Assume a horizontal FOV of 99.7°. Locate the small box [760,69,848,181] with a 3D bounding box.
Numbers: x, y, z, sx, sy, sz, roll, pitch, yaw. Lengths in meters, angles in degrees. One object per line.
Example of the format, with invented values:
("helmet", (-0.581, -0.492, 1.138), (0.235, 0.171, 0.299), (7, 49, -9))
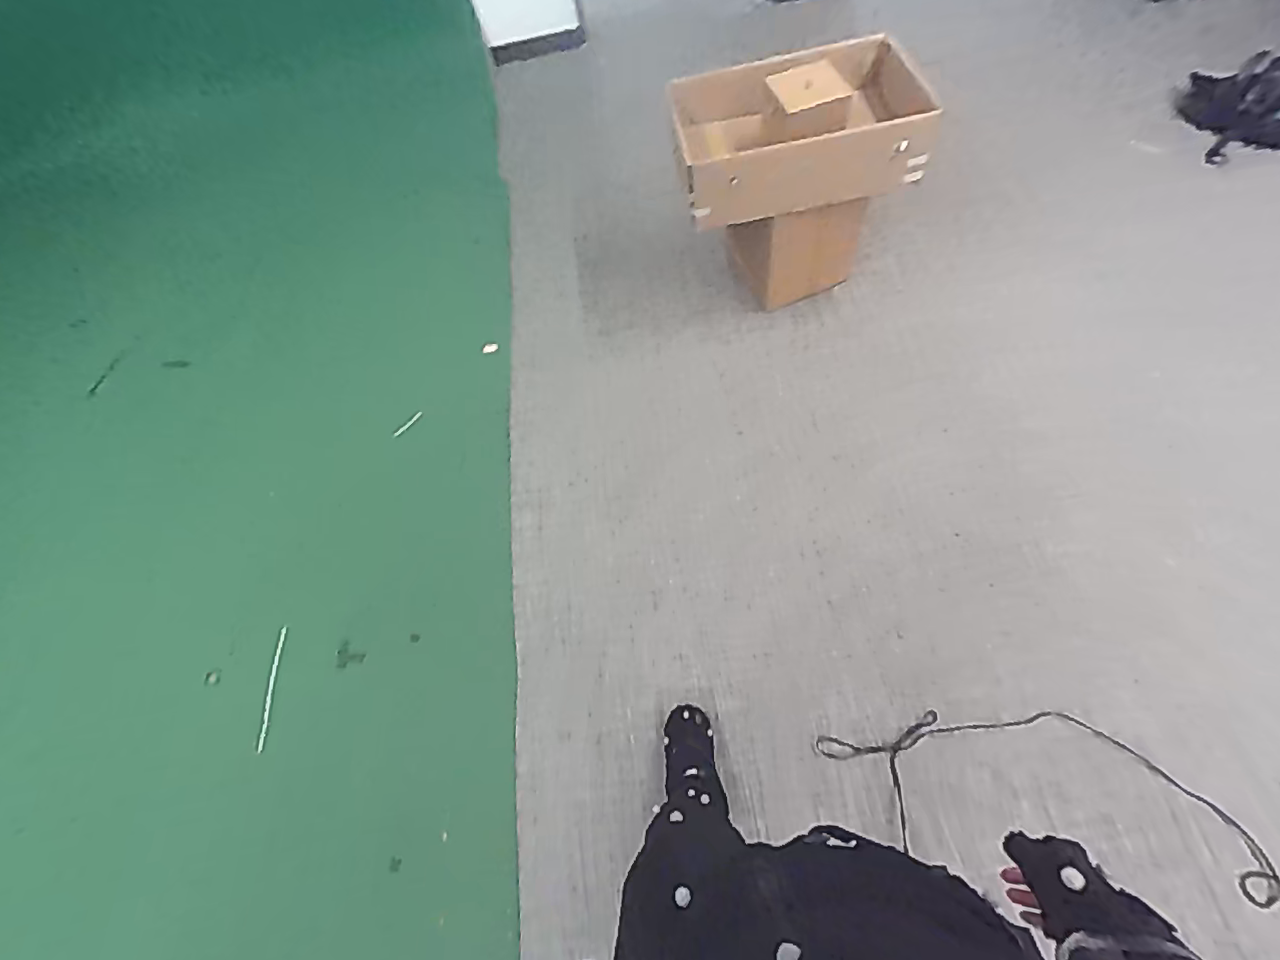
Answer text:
("small box", (0.422, -0.933, 1.429), (0.168, 0.176, 0.179), (-16, 62, 1))
